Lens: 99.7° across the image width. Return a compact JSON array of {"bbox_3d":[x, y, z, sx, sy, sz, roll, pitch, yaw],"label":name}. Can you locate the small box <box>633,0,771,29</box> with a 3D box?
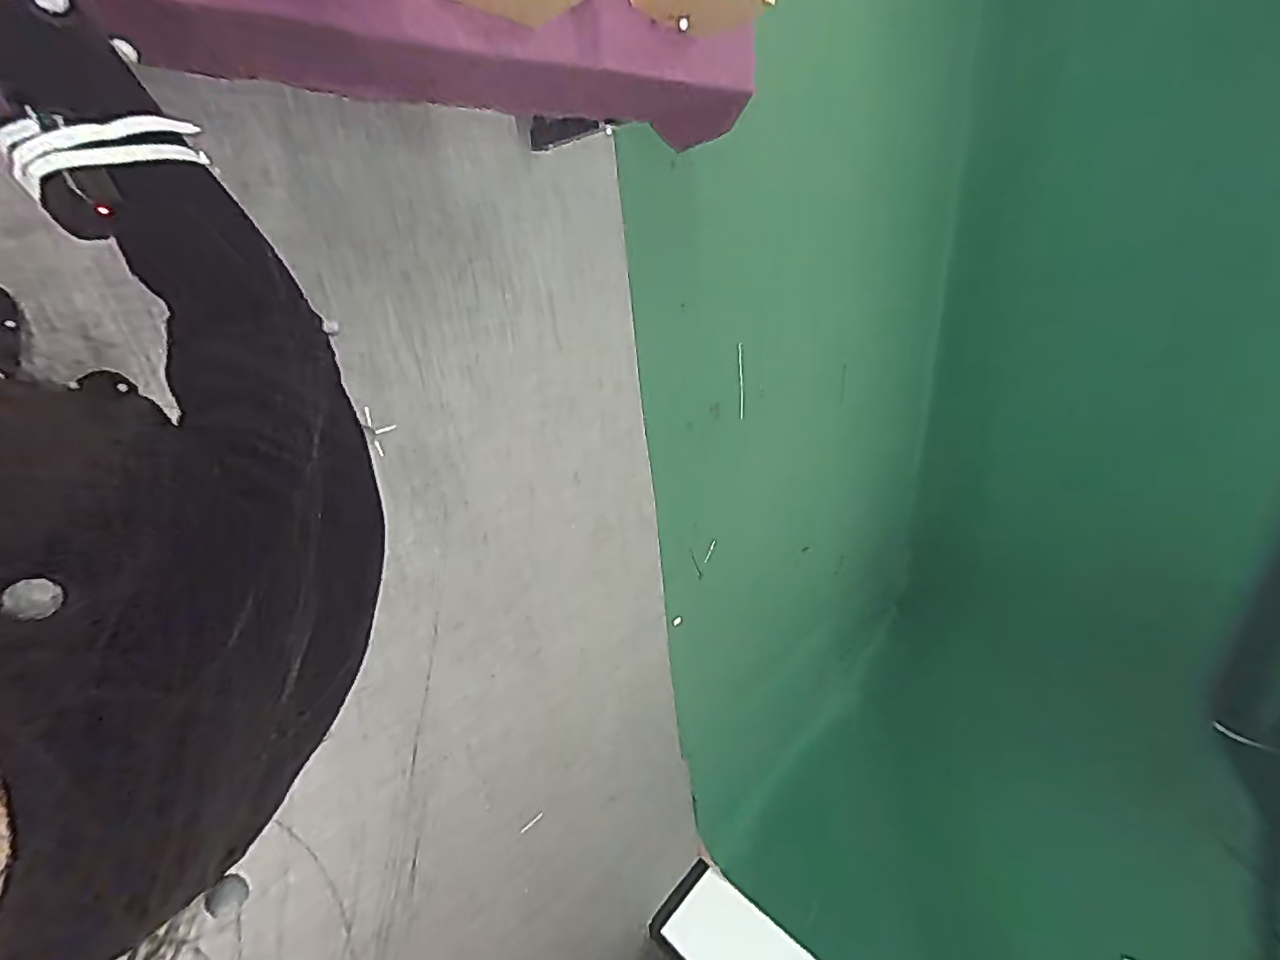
[{"bbox_3d":[0.099,-0.863,0.864,0.179,0.176,0.168,-19,115,-41],"label":"small box"}]

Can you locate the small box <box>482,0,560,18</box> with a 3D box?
[{"bbox_3d":[-0.159,-0.703,0.651,0.179,0.176,0.168,-20,117,-42],"label":"small box"}]
